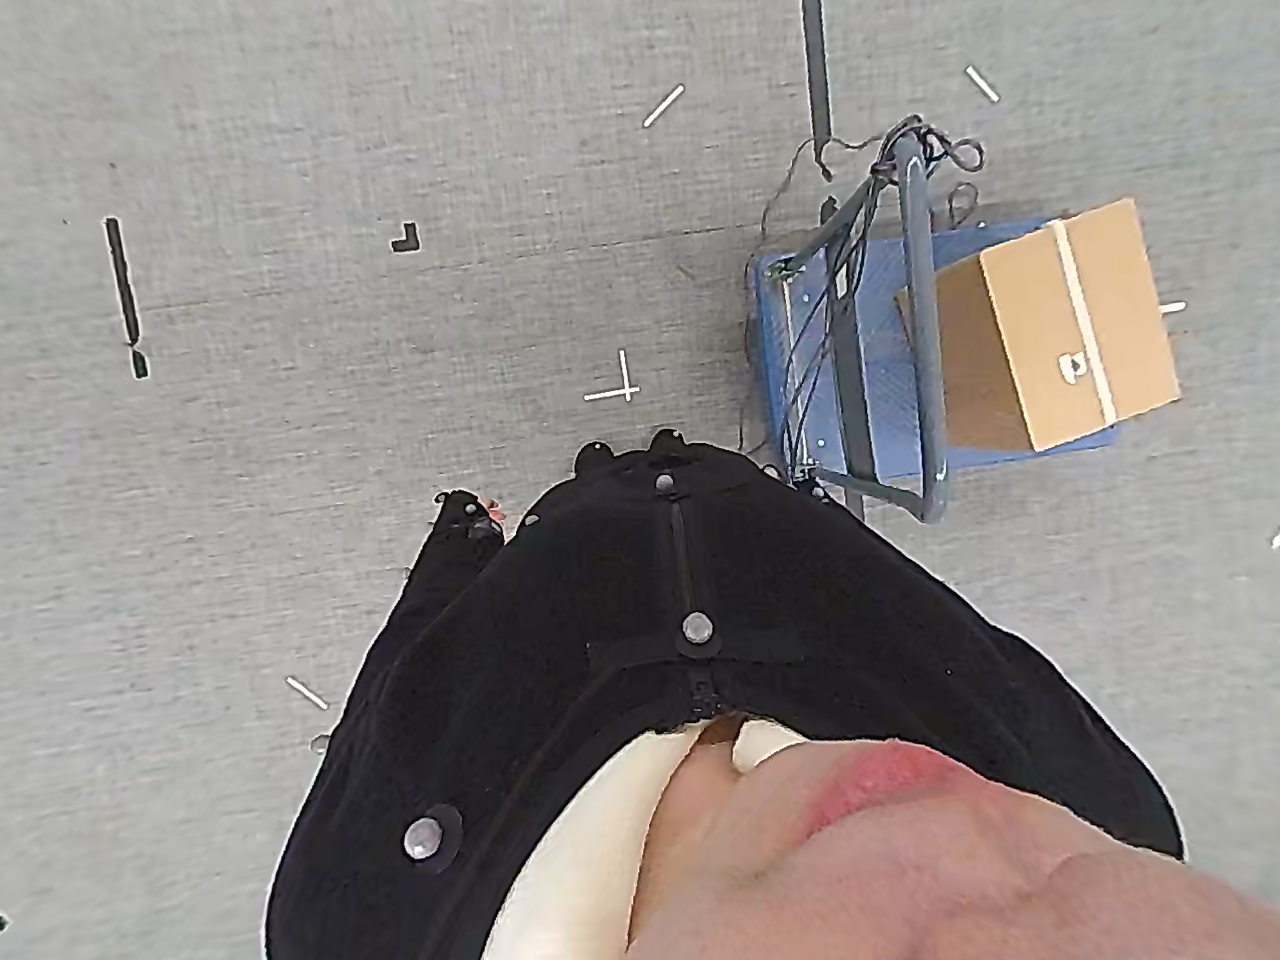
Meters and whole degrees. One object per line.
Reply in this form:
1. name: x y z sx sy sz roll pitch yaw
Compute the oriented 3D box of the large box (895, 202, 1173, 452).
1. large box: 0.829 -0.306 1.183 0.320 0.320 0.408 -20 97 0
